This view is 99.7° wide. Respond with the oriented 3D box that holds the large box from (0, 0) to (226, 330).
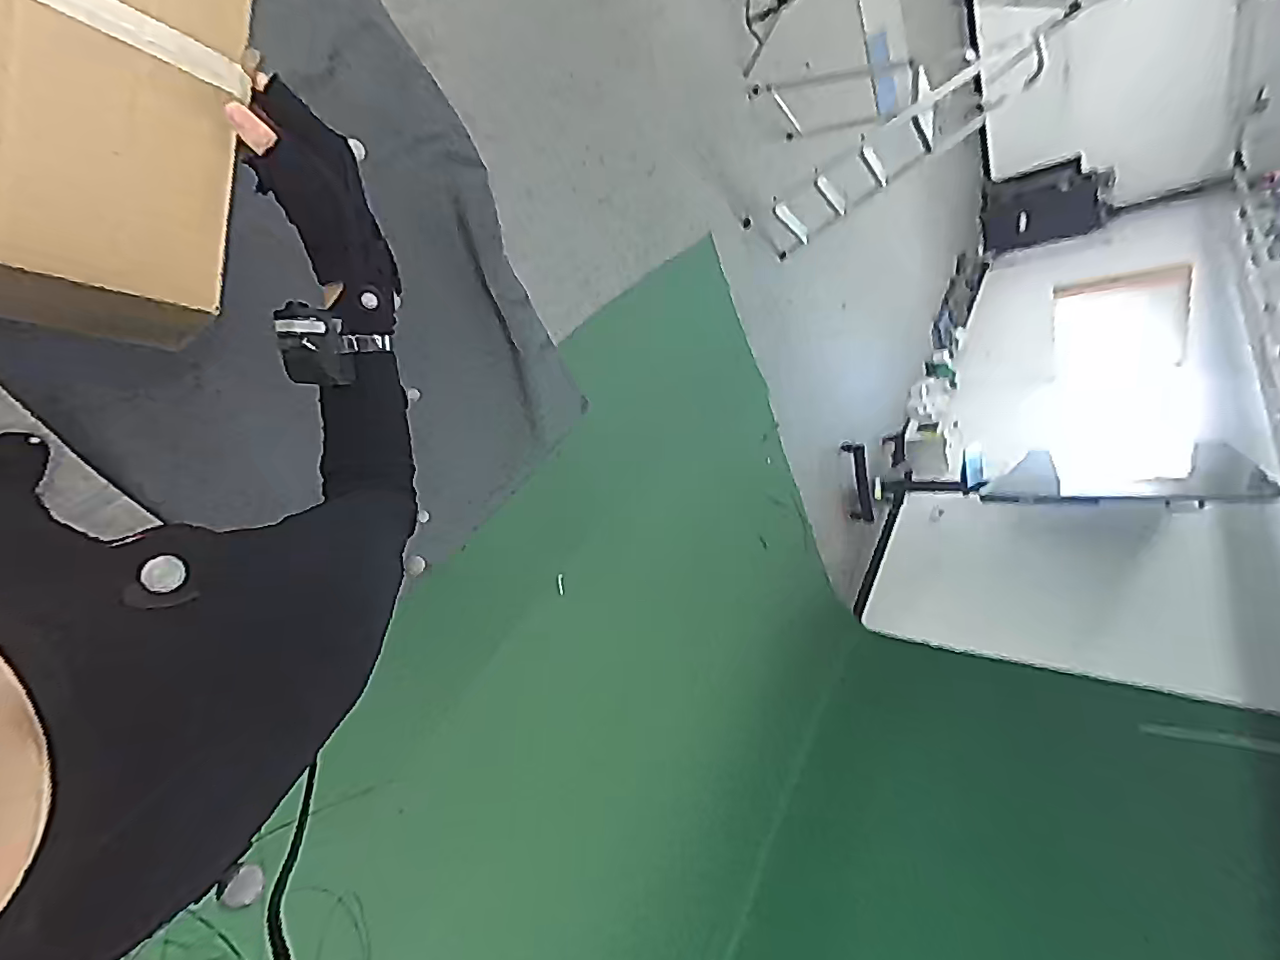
[{"bbox_3d":[-0.523,-0.298,0.329,0.408,0.320,0.320,5,92,-44],"label":"large box"}]
